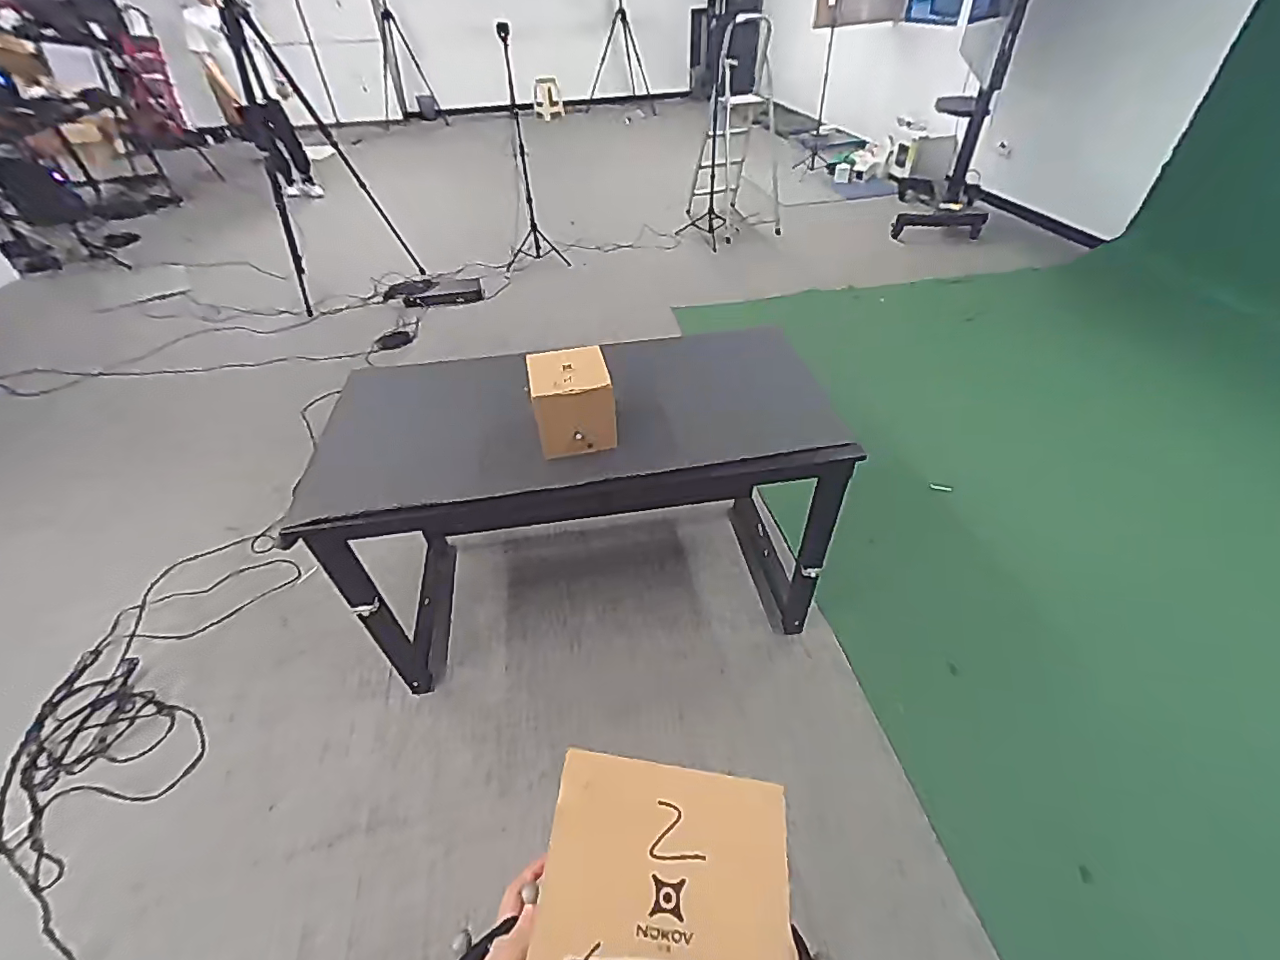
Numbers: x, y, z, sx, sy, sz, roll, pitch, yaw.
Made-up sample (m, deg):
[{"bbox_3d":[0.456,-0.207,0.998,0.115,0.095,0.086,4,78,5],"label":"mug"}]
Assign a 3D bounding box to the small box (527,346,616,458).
[{"bbox_3d":[-0.152,-0.173,1.197,0.168,0.176,0.179,-10,42,-8],"label":"small box"}]
